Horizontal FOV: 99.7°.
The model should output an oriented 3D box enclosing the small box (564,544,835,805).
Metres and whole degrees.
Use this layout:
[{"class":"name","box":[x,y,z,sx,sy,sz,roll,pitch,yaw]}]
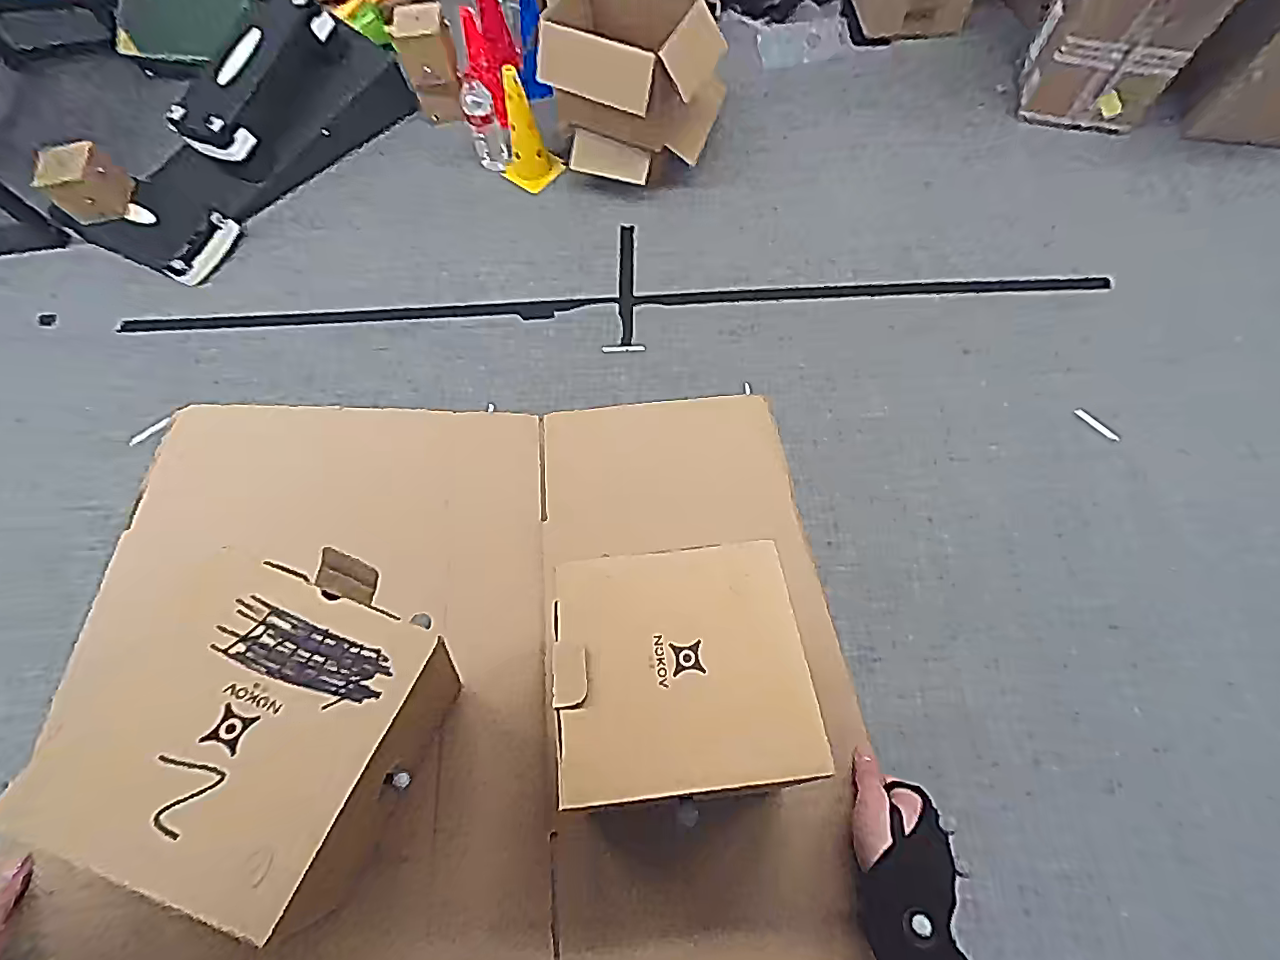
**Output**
[{"class":"small box","box":[0.036,0.170,0.460,0.179,0.176,0.168,-7,59,-2]}]
